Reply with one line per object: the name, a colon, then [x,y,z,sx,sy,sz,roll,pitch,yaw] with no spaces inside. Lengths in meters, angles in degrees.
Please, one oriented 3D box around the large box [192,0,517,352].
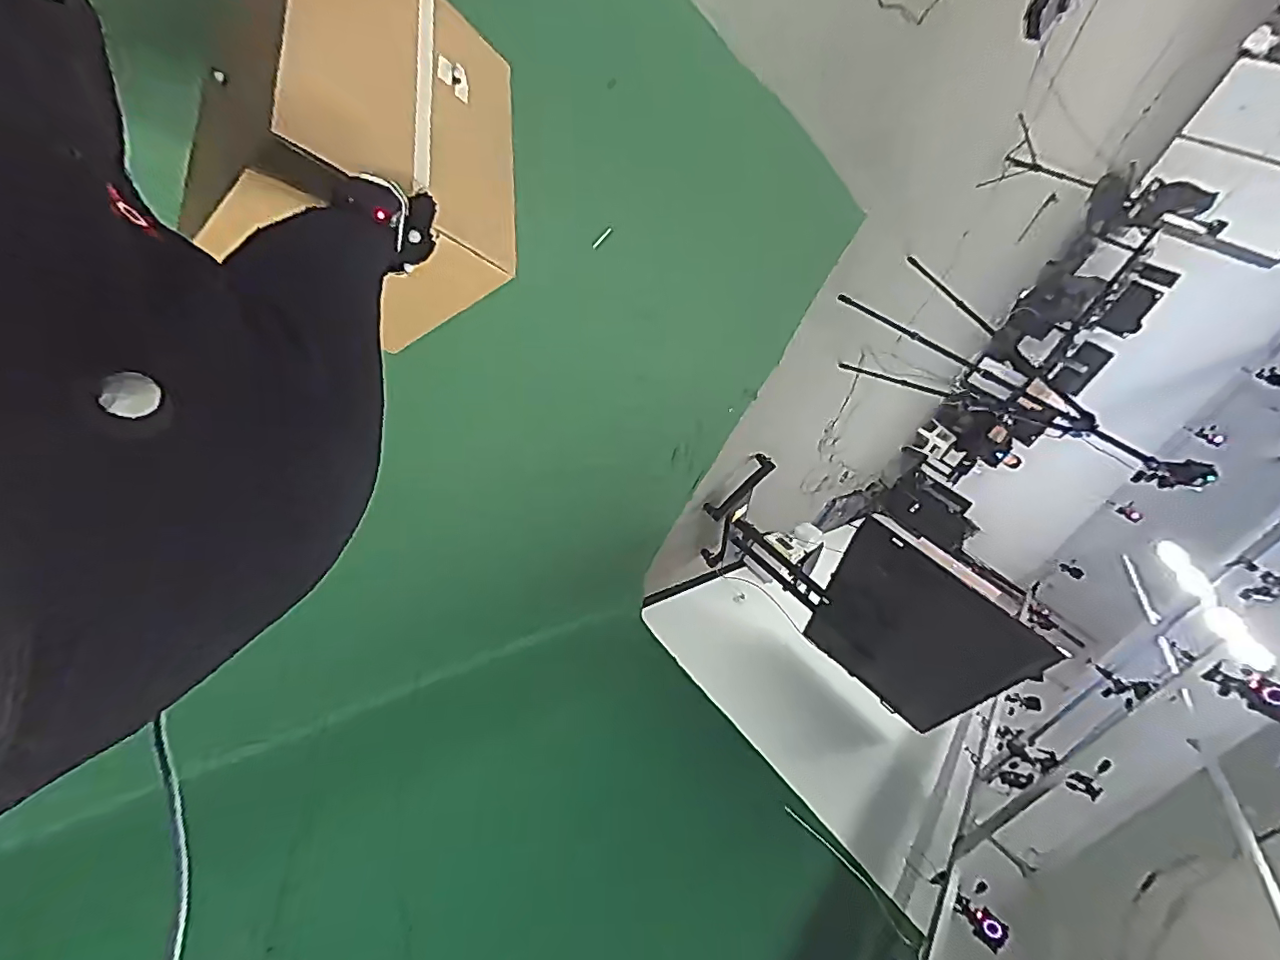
large box: [-0.409,-0.466,0.799,0.320,0.408,0.320,-17,161,33]
